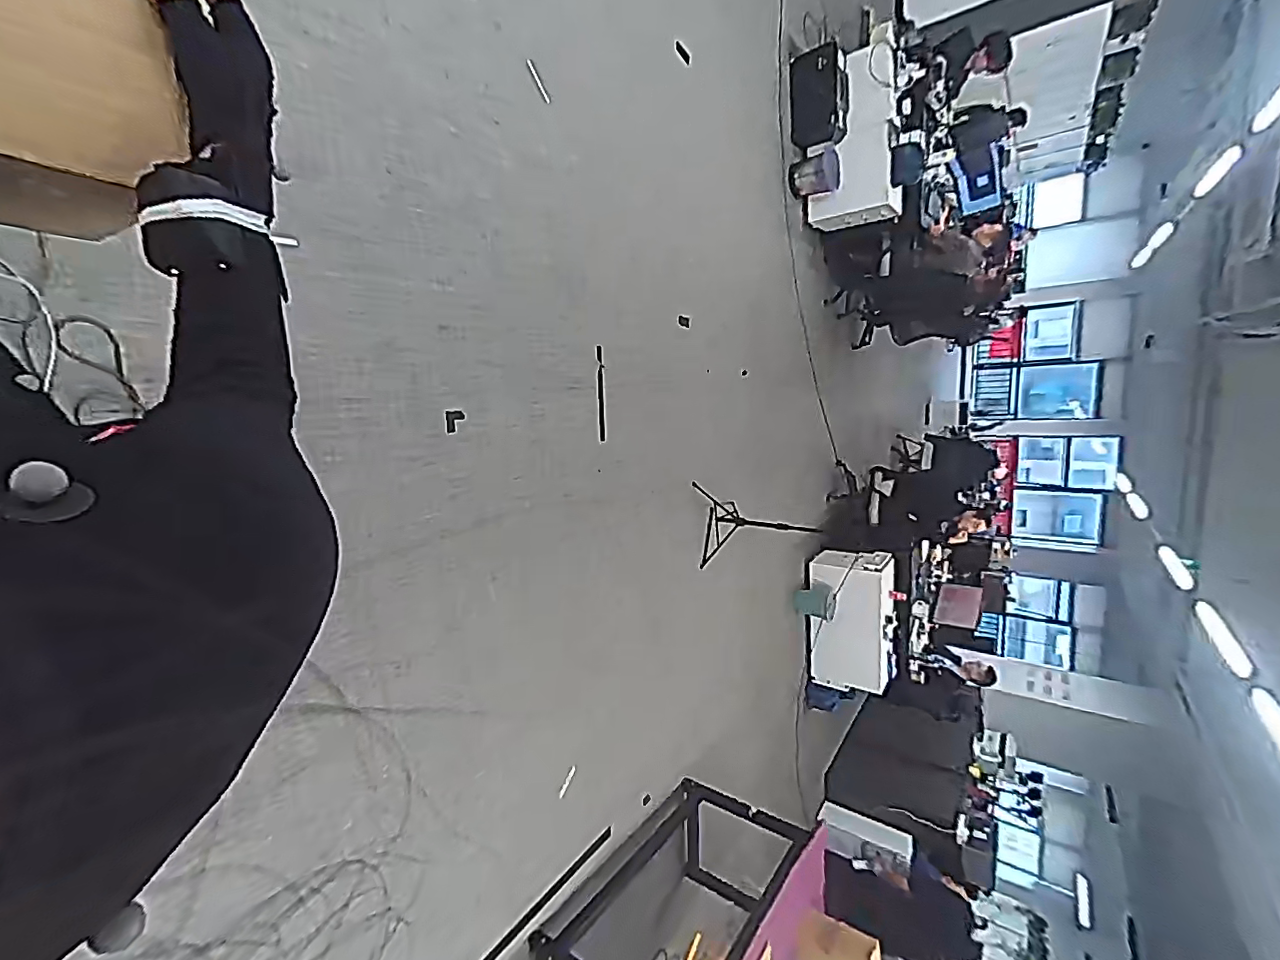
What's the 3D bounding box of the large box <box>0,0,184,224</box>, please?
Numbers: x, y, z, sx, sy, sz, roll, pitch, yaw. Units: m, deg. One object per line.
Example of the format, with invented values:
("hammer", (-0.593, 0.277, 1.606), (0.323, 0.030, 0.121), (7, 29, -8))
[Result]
("large box", (-0.583, -0.382, 0.321), (0.408, 0.320, 0.320), (-9, 107, -55))
